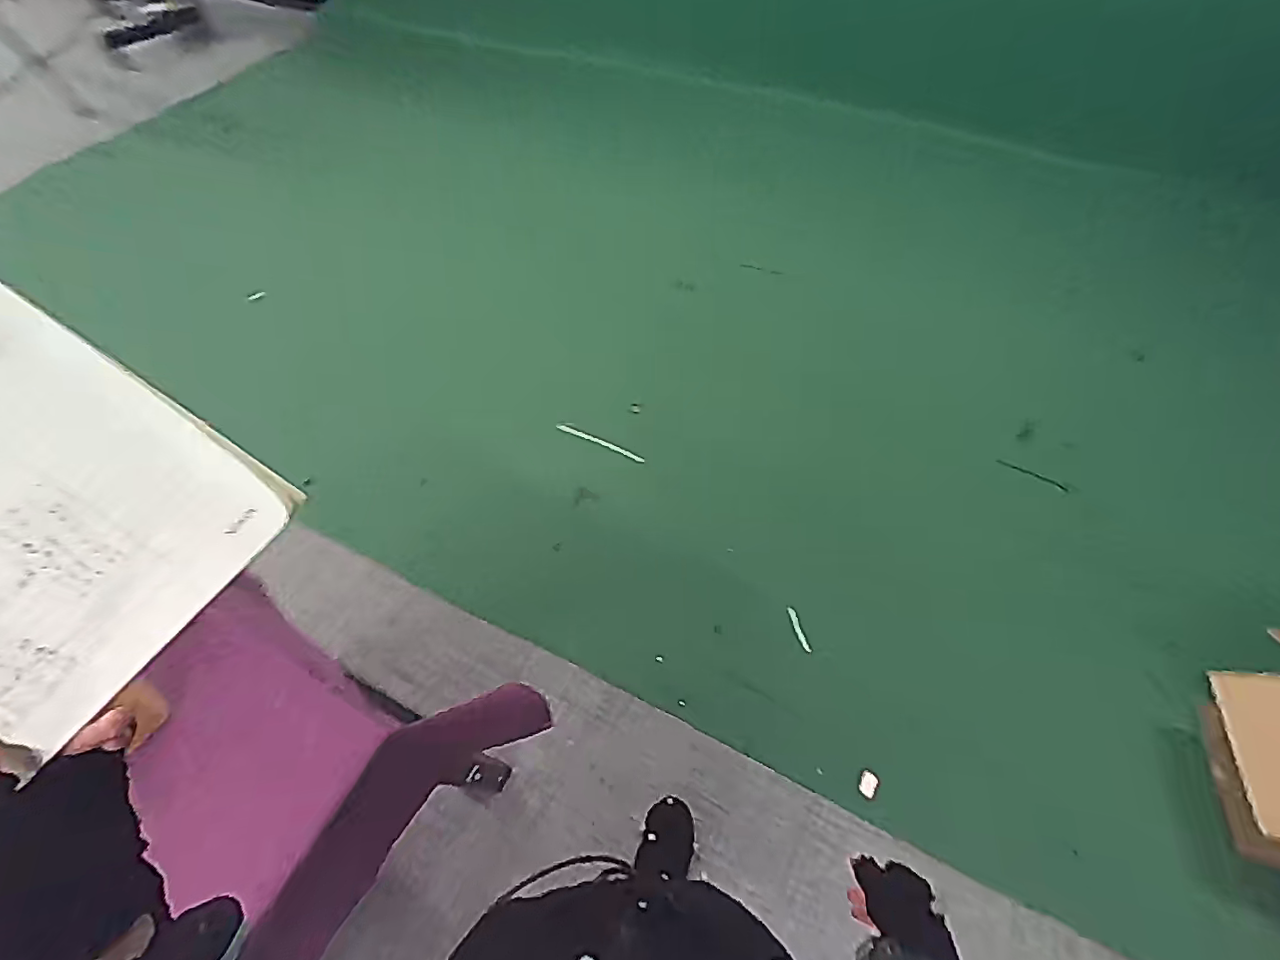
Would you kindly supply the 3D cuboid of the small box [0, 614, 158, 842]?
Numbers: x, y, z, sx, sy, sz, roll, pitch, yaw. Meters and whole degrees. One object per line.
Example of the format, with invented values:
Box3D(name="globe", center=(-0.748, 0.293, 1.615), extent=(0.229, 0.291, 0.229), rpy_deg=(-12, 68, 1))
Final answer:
Box3D(name="small box", center=(-0.691, 0.263, 0.581), extent=(0.179, 0.176, 0.168), rpy_deg=(30, 63, 18))
